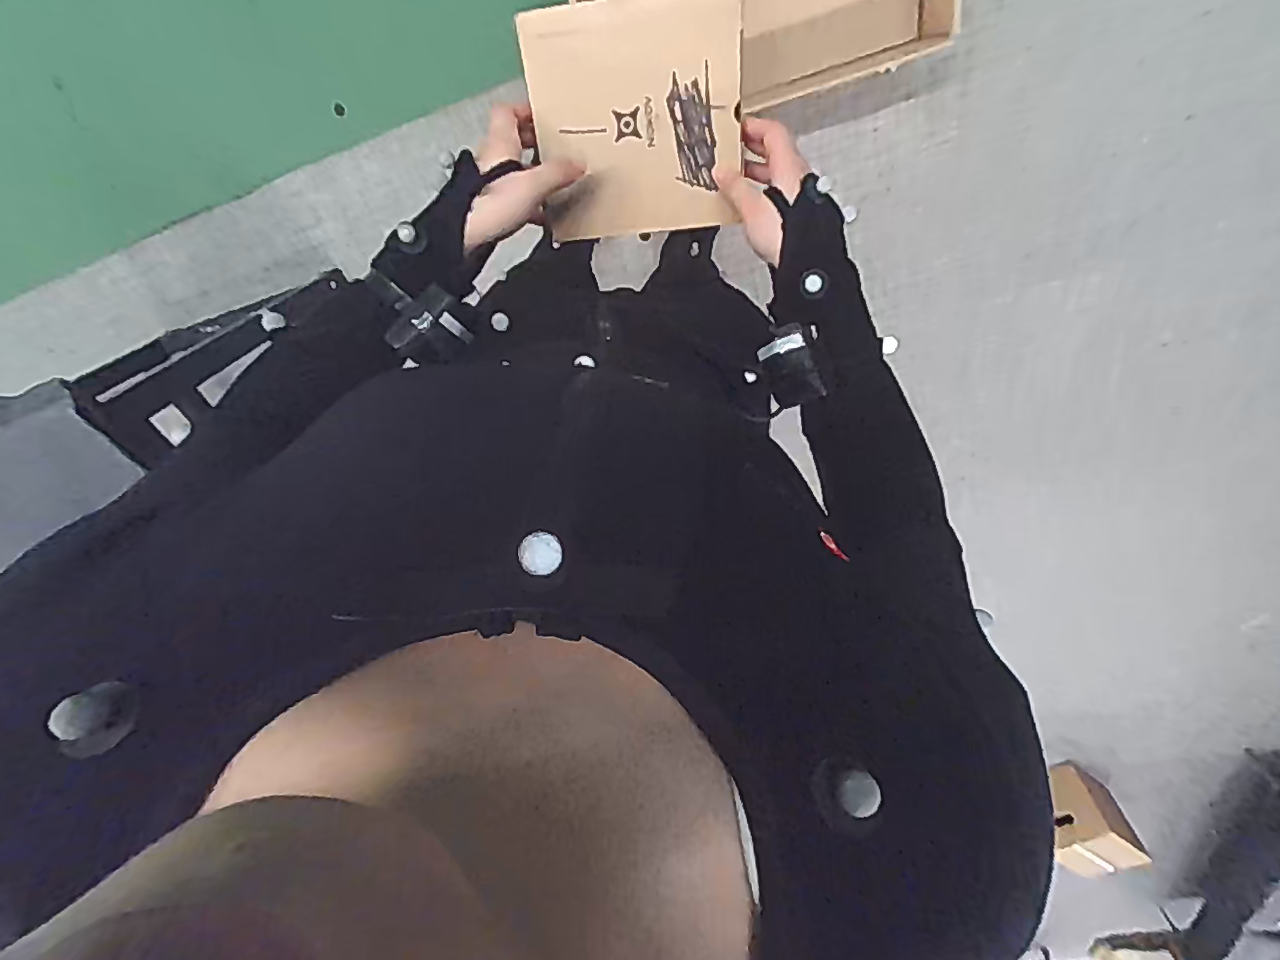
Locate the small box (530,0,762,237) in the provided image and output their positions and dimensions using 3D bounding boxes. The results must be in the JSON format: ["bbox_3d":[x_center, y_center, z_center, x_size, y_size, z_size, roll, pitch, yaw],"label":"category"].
[{"bbox_3d":[0.013,-0.335,0.506,0.179,0.176,0.168,-3,121,6],"label":"small box"}]
